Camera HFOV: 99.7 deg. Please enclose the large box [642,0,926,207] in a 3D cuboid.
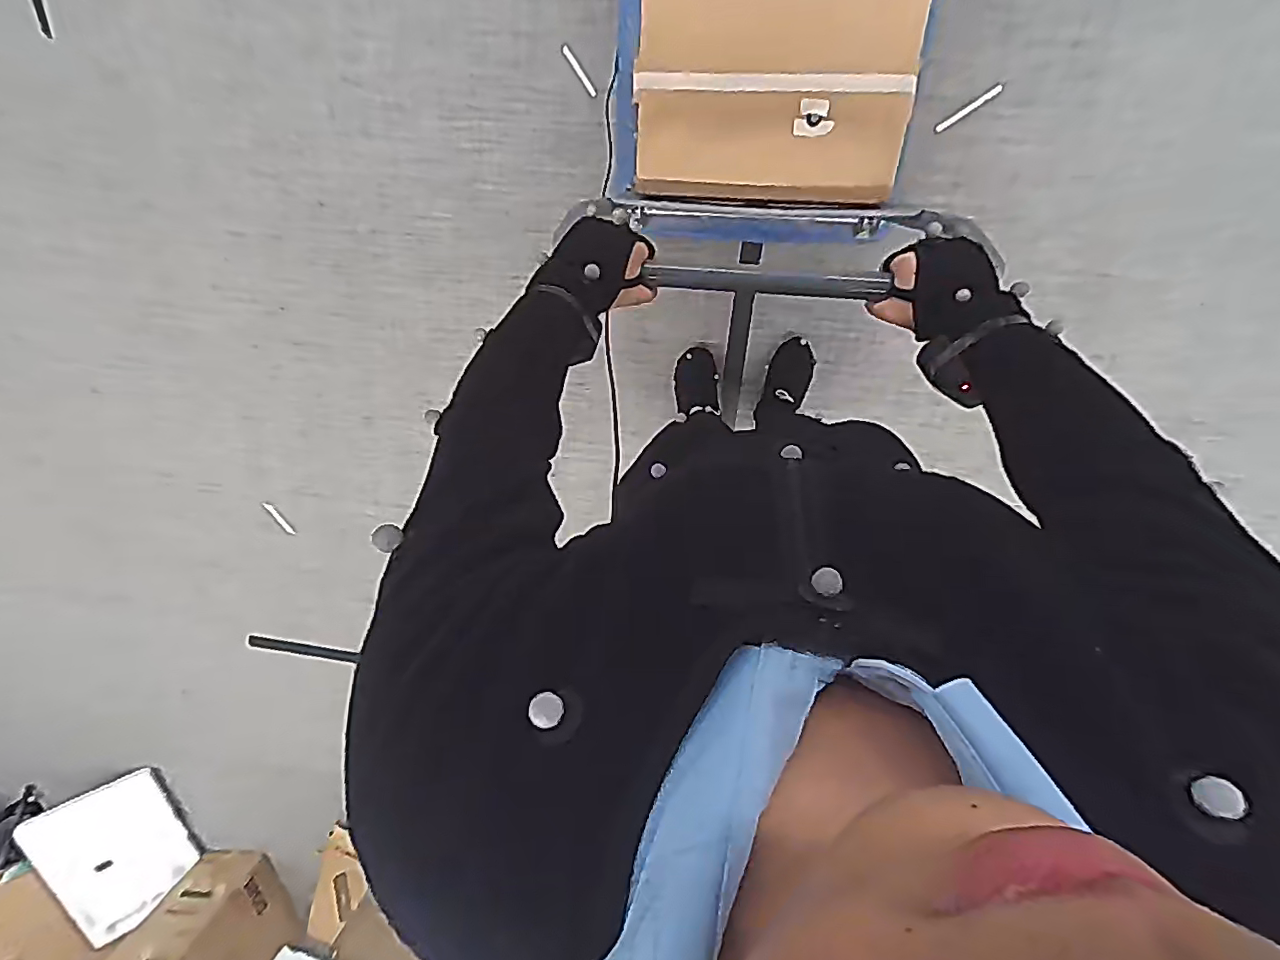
[{"bbox_3d":[0.219,-0.660,0.952,0.408,0.320,0.320,5,116,6],"label":"large box"}]
